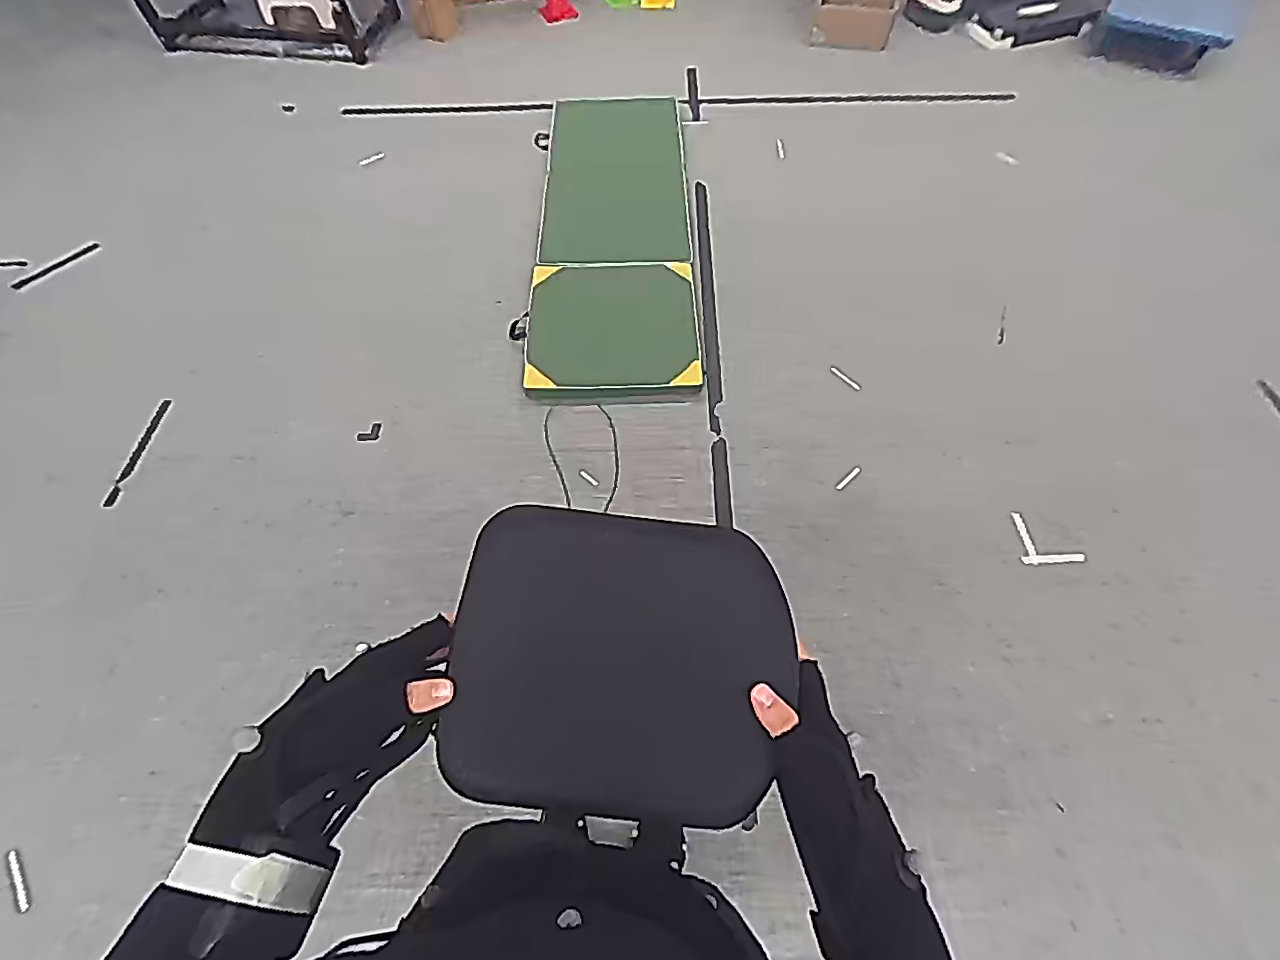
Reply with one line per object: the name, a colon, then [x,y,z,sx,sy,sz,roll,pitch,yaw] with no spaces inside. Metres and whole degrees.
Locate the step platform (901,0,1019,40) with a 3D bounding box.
step platform: [1.851,-2.742,3.074,0.684,0.204,0.286,-27,64,-13]
